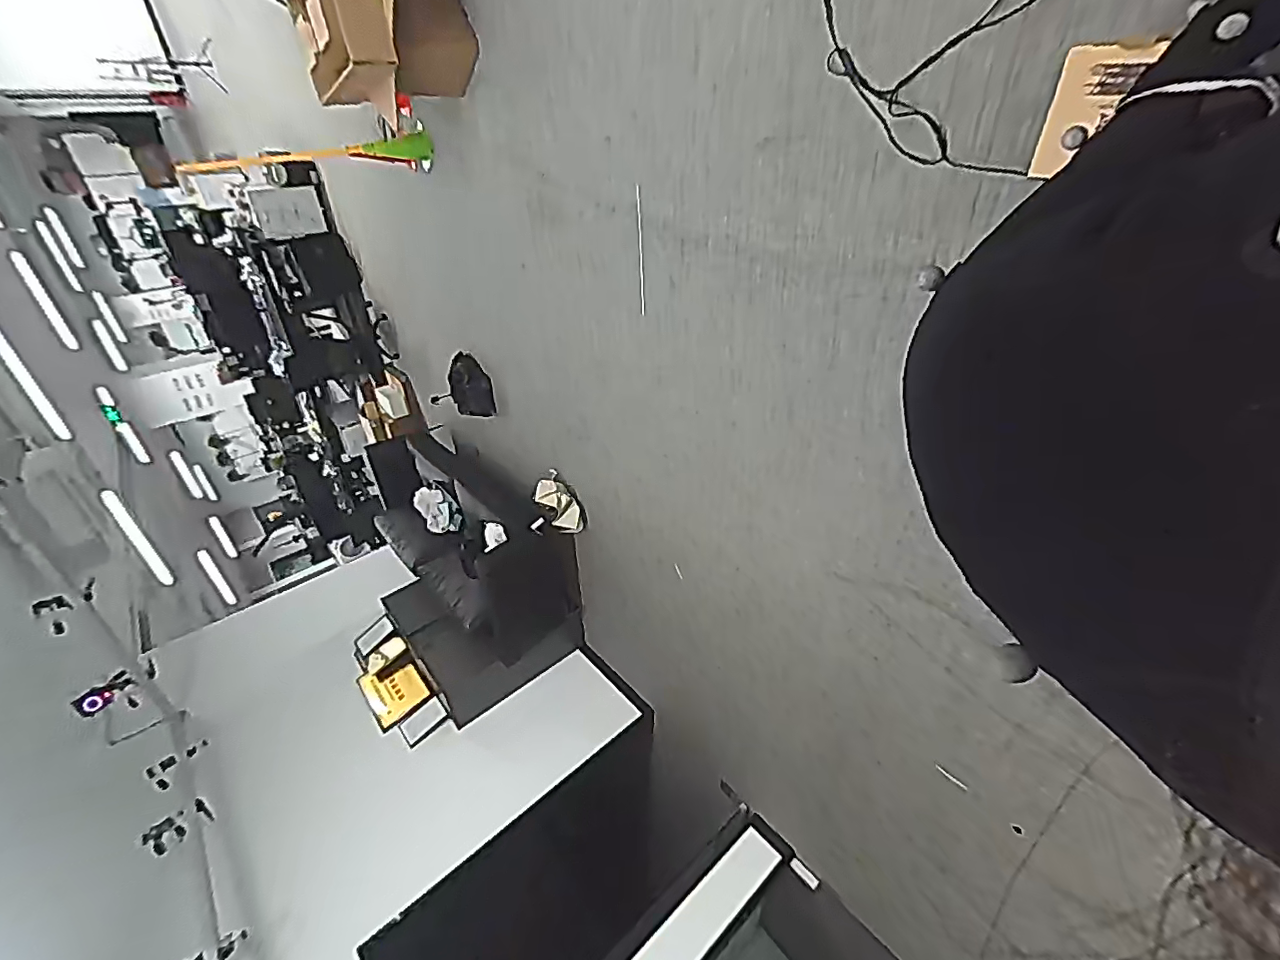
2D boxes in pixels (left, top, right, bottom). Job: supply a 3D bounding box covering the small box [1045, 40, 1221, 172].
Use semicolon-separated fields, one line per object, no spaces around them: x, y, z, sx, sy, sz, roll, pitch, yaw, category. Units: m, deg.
0.868;-0.658;0.955;0.168;0.176;0.179;33;138;38;small box
